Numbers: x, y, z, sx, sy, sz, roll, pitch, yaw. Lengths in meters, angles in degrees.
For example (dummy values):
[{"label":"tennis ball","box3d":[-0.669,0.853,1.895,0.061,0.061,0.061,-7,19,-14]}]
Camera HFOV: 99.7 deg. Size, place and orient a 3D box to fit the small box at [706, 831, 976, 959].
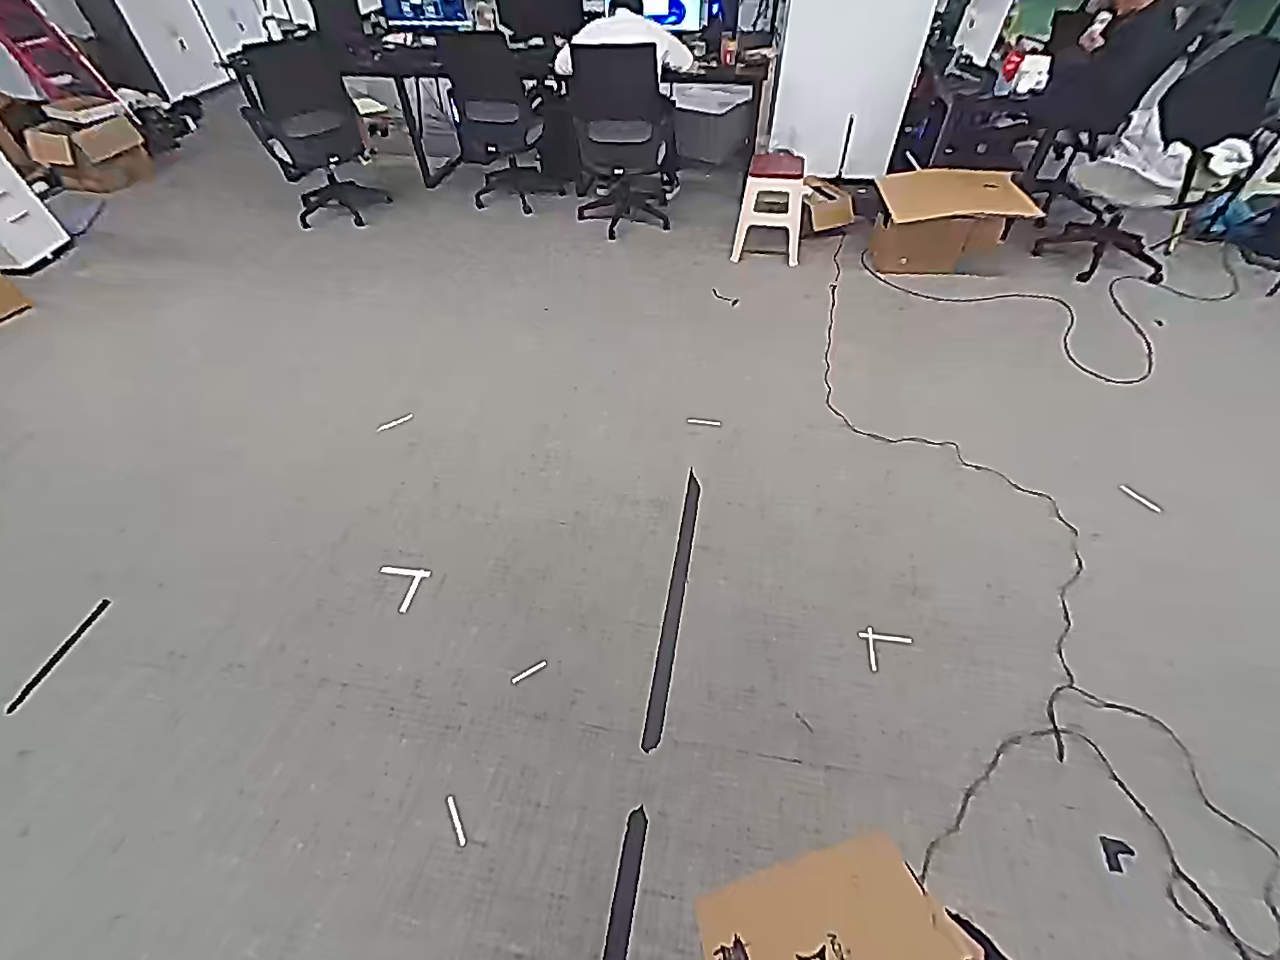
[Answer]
[{"label":"small box","box3d":[0.167,0.419,0.404,0.179,0.176,0.168,-19,11,0]}]
